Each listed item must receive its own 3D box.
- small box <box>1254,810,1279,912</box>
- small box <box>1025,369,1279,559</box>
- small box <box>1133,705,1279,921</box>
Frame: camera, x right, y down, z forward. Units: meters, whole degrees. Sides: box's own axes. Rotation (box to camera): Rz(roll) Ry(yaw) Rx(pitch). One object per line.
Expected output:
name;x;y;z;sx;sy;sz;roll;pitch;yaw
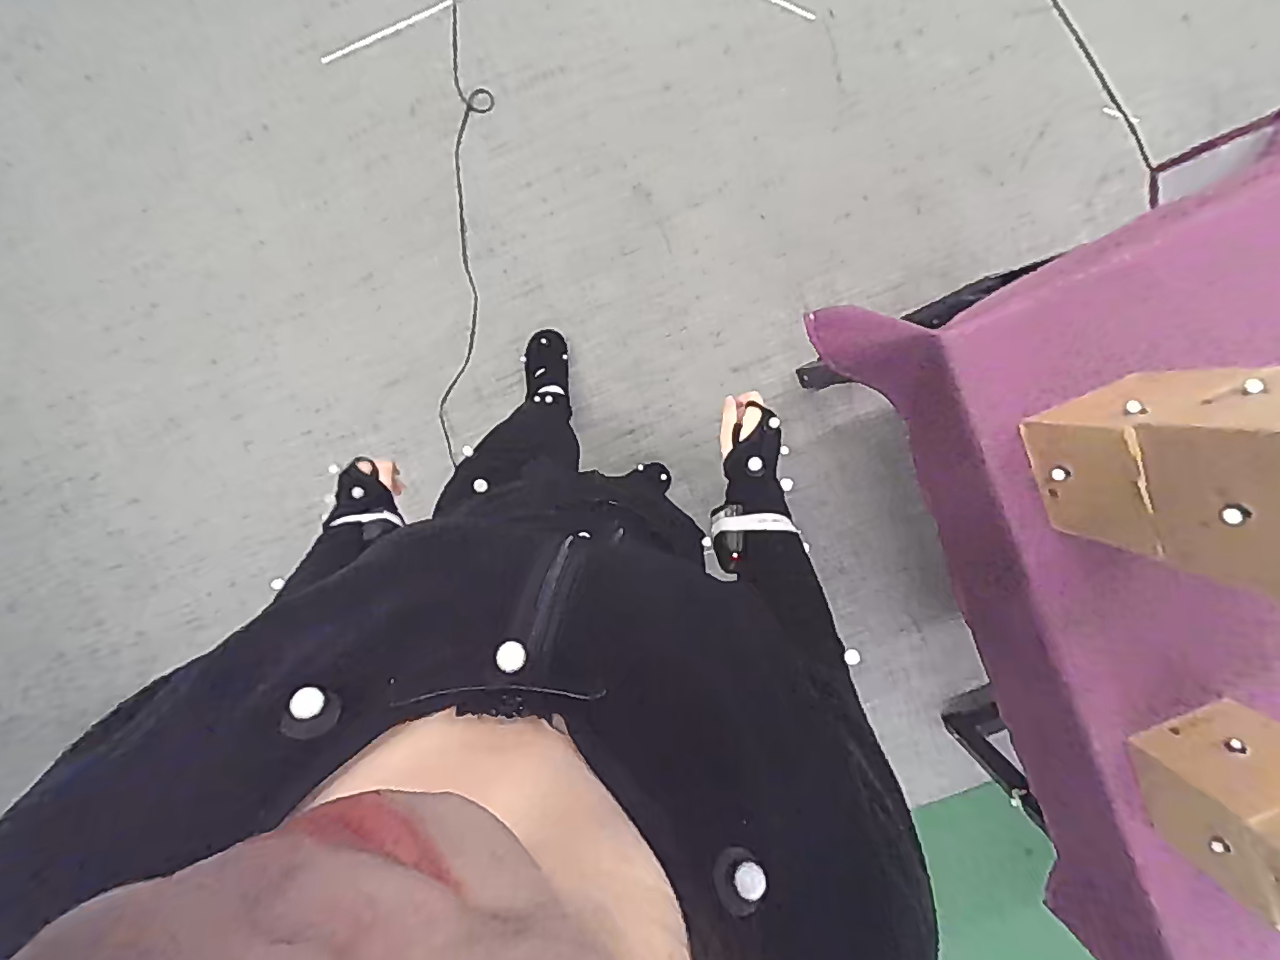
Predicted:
small box;0.860;0.464;0.589;0.179;0.176;0.168;-26;98;4
small box;0.641;-0.029;0.678;0.179;0.176;0.168;-24;99;3
small box;0.849;0.443;0.752;0.168;0.176;0.179;-23;98;3
